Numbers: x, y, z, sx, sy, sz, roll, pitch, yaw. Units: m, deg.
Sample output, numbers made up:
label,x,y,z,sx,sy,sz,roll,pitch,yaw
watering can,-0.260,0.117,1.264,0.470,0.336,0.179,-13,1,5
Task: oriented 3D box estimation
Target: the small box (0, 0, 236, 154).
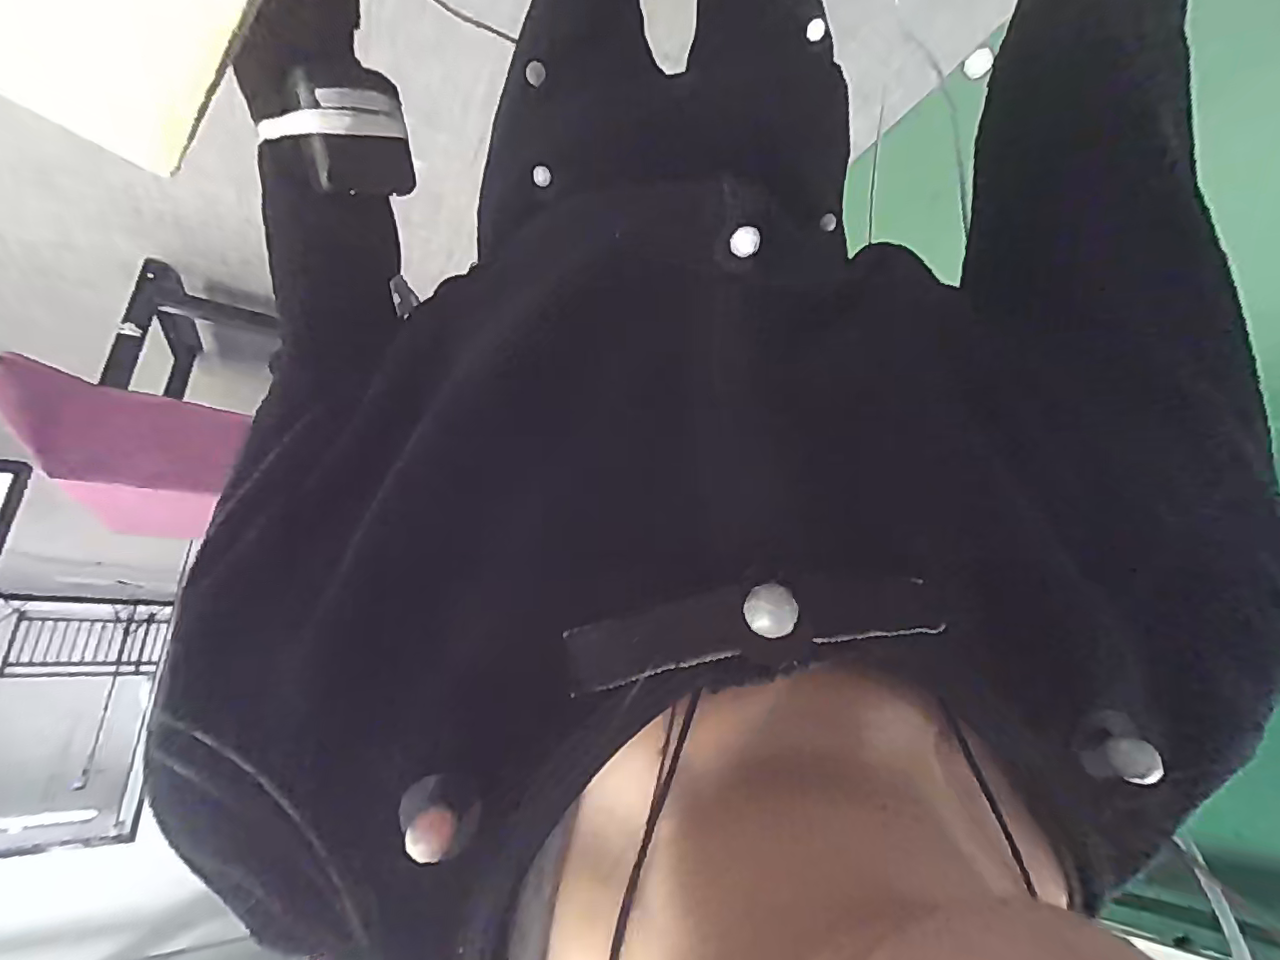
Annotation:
label,x,y,z,sx,sy,sz,roll,pitch,yaw
small box,-0.161,-0.228,0.113,0.176,0.179,0.168,-2,163,41
